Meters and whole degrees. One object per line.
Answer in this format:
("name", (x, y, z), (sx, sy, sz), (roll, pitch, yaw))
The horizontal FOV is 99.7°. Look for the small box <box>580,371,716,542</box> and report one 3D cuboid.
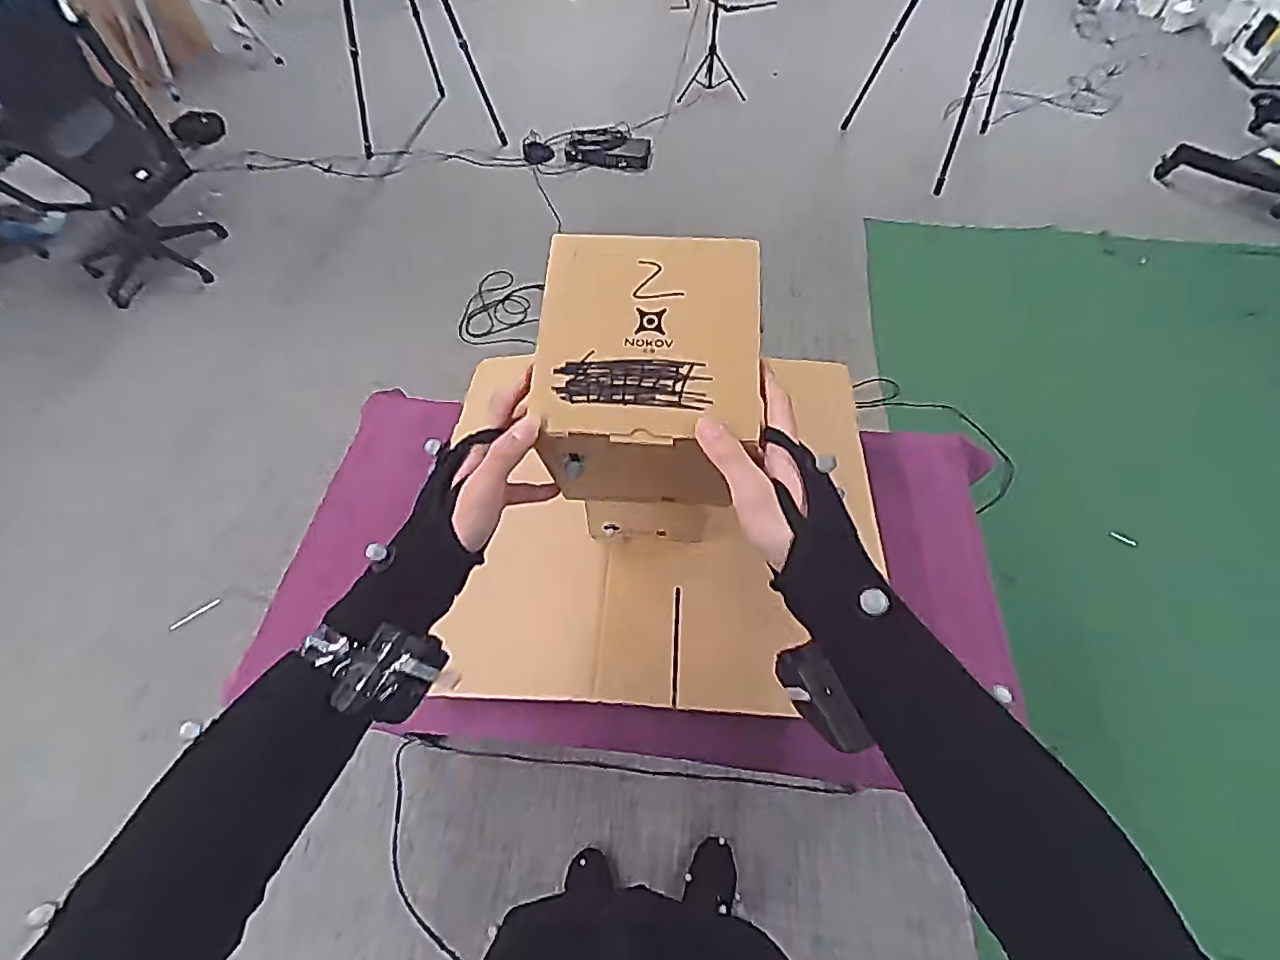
("small box", (0.015, -0.028, 0.750), (0.168, 0.176, 0.179), (3, 56, 1))
